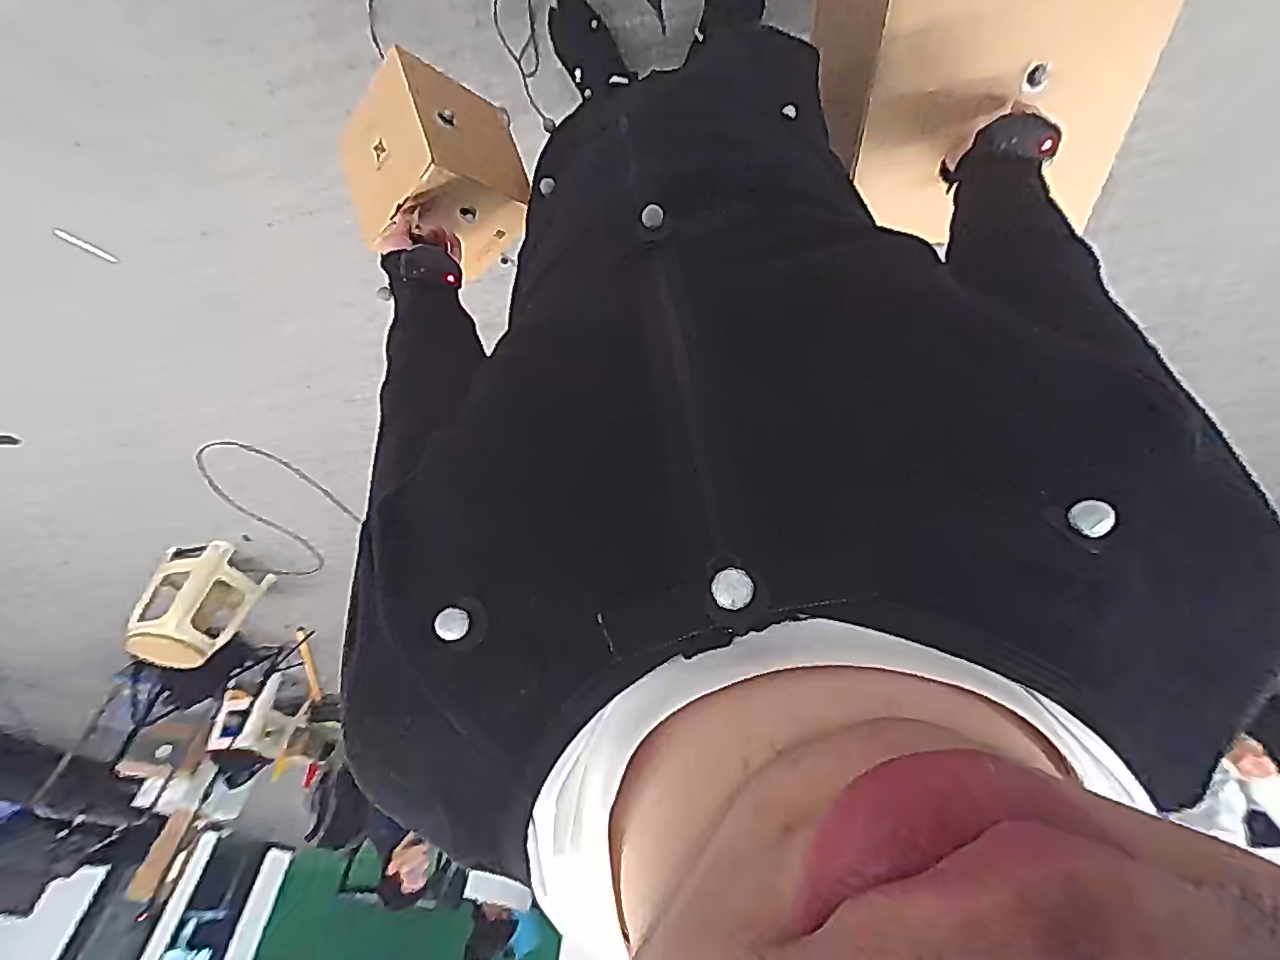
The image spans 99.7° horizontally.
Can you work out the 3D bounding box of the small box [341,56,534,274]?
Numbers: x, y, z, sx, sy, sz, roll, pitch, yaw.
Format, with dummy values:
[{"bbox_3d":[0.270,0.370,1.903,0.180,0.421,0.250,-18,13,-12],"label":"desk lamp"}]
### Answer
[{"bbox_3d":[-0.272,-0.407,0.740,0.168,0.179,0.176,-28,167,34],"label":"small box"}]
